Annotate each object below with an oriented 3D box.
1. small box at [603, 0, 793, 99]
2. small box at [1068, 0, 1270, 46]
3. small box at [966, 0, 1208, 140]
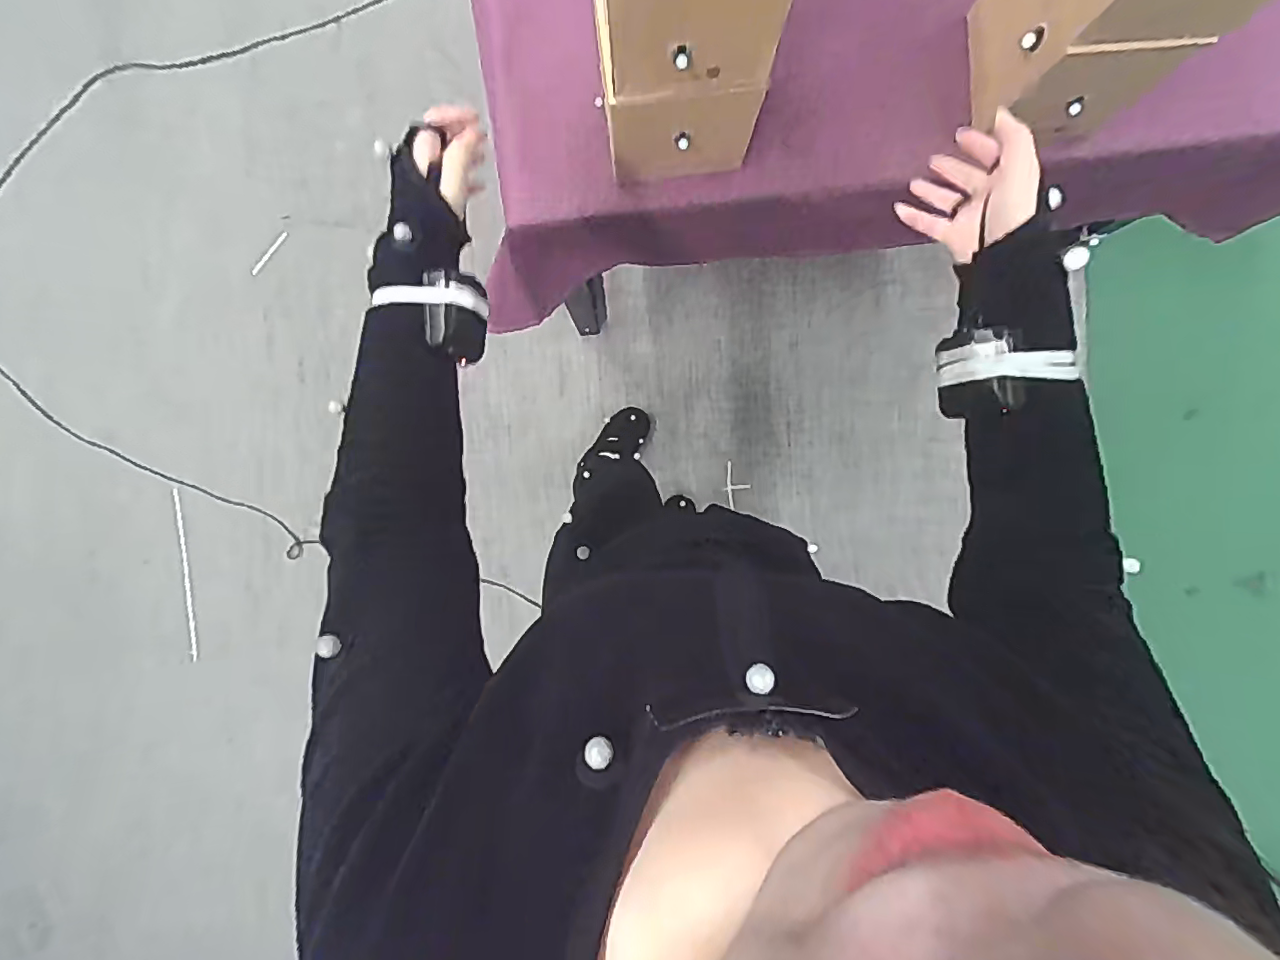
[{"bbox_3d":[0.045,-0.500,0.499,0.168,0.176,0.179,-7,93,0],"label":"small box"},{"bbox_3d":[0.540,-0.545,0.500,0.179,0.176,0.168,-3,92,-1],"label":"small box"},{"bbox_3d":[0.531,-0.547,0.664,0.168,0.176,0.179,-4,92,-1],"label":"small box"}]
